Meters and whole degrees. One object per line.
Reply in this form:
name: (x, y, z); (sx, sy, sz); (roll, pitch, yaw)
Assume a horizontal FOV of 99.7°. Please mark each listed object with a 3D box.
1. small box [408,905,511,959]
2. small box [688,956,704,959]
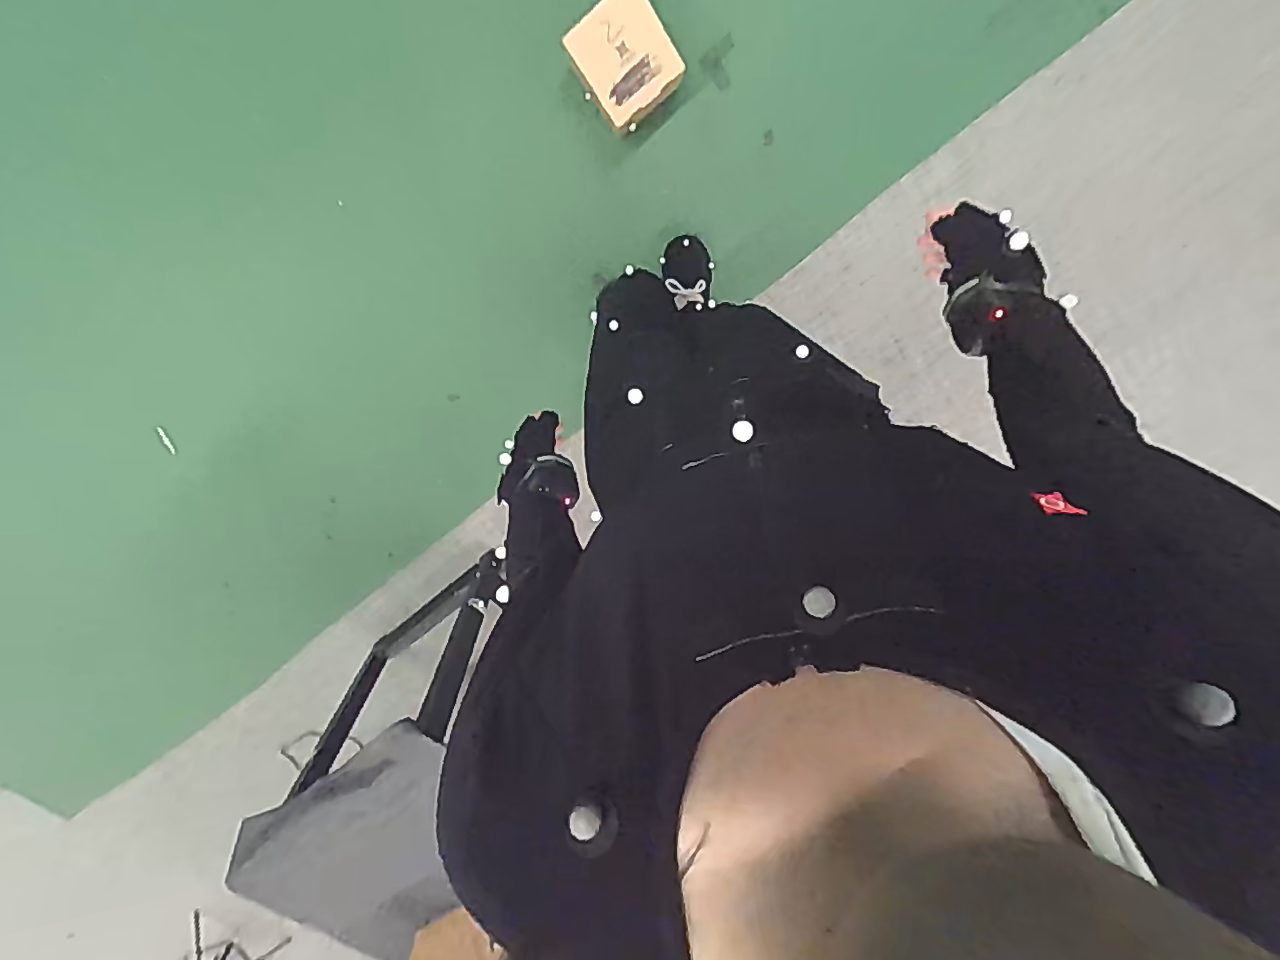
small box: (-0.411, 1.101, 1.203); (0.179, 0.176, 0.168); (-37, 112, 13)
small box: (0.126, 1.326, 1.337); (0.168, 0.176, 0.179); (-37, 112, 15)
